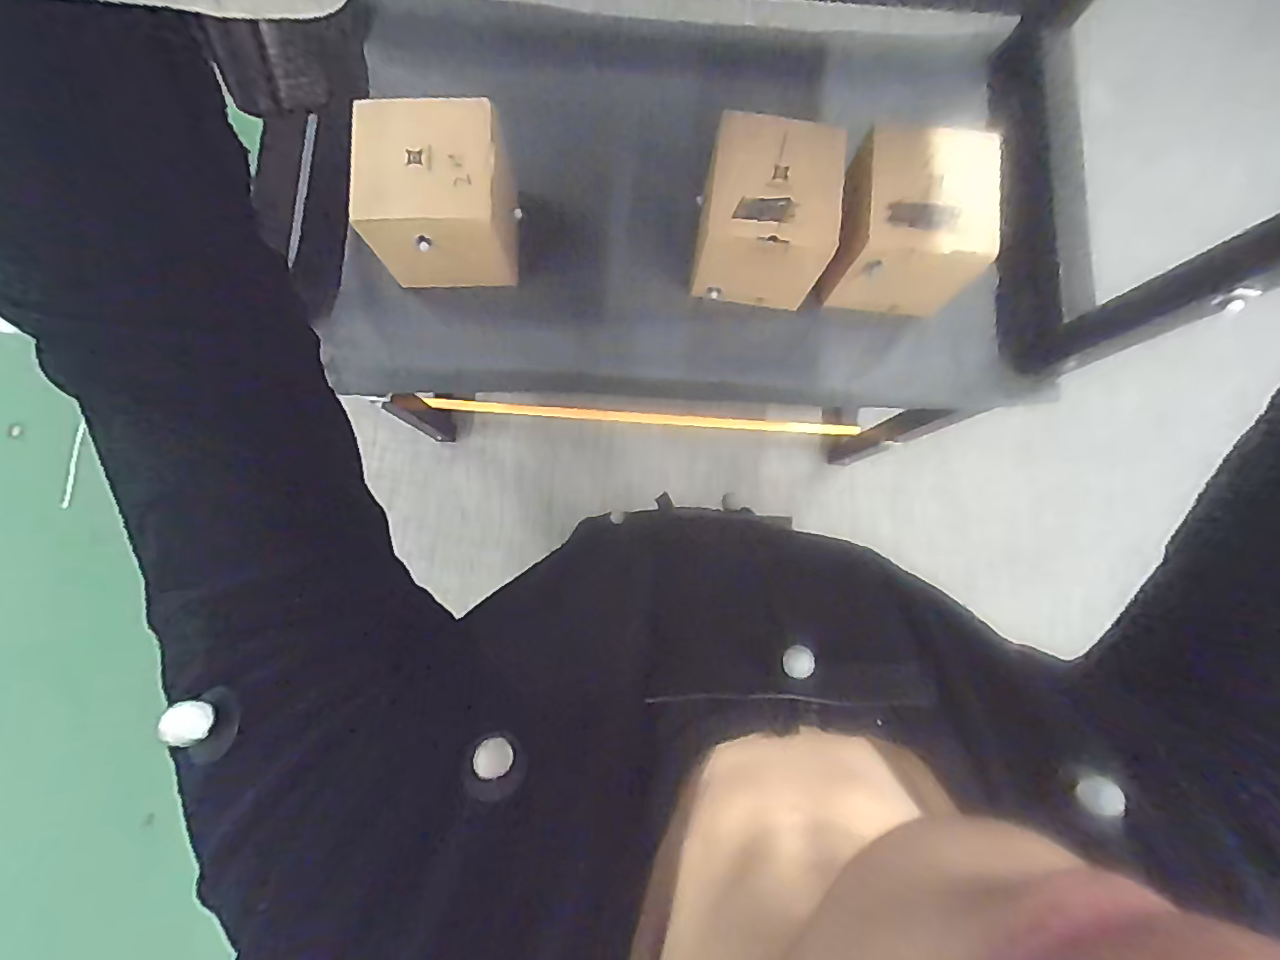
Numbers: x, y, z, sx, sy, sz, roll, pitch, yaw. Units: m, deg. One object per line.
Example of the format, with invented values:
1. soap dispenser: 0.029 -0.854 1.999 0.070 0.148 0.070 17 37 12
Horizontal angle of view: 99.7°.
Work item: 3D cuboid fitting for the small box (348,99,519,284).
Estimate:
1. small box: -0.274 -0.387 0.751 0.179 0.176 0.168 -1 83 -2
